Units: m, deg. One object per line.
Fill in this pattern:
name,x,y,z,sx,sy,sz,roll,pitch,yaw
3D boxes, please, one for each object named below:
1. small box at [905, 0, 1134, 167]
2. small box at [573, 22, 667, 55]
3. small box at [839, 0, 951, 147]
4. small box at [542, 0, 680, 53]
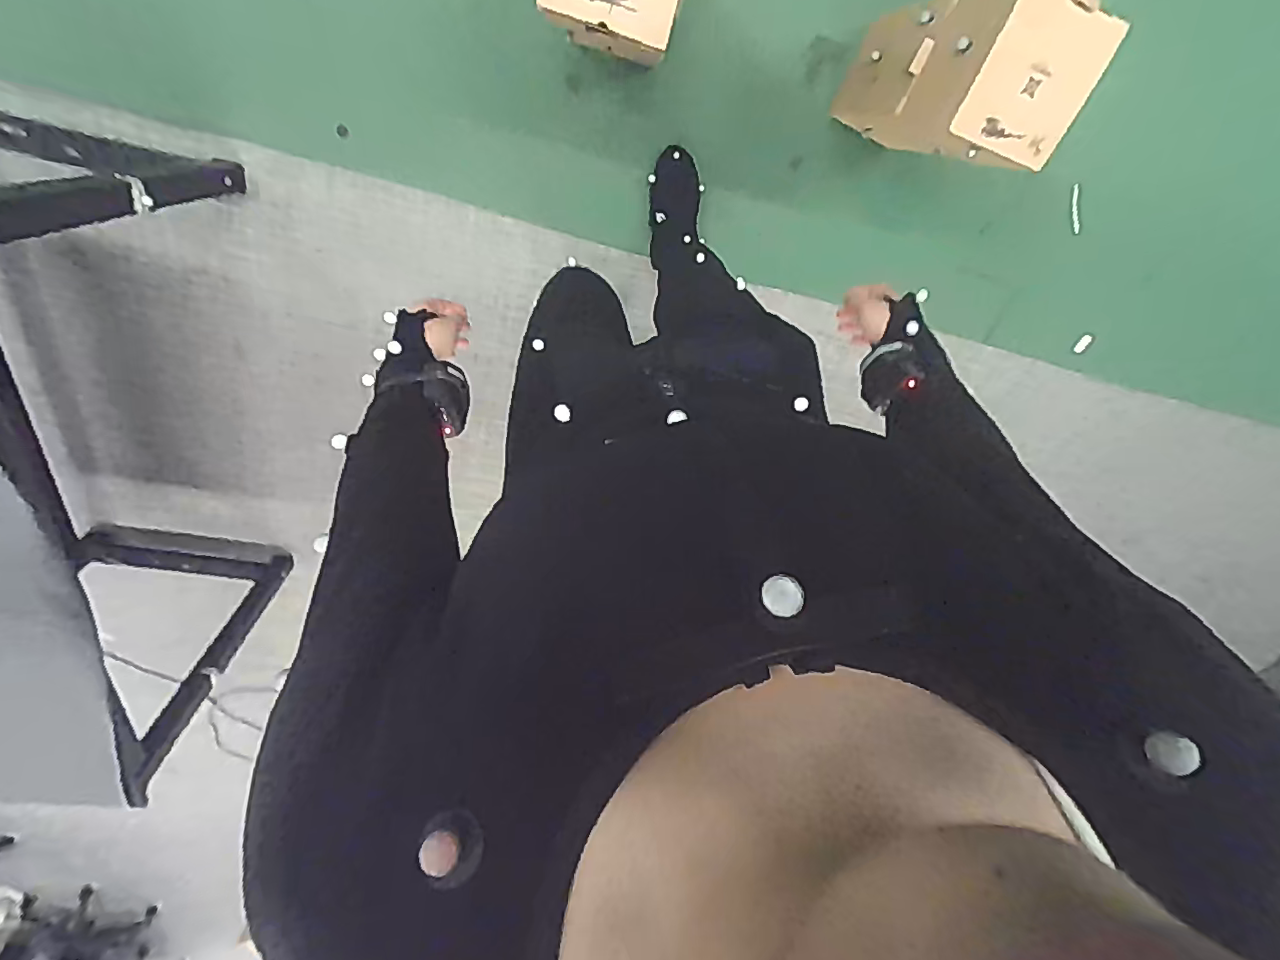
small box,0.525,-0.583,0.781,0.168,0.176,0.179,13,122,-14
small box,-0.023,-0.866,0.942,0.179,0.176,0.168,10,125,-11
small box,0.514,-0.779,1.046,0.168,0.176,0.179,17,122,-16
small box,-0.020,-0.671,0.680,0.168,0.176,0.179,12,123,-11
